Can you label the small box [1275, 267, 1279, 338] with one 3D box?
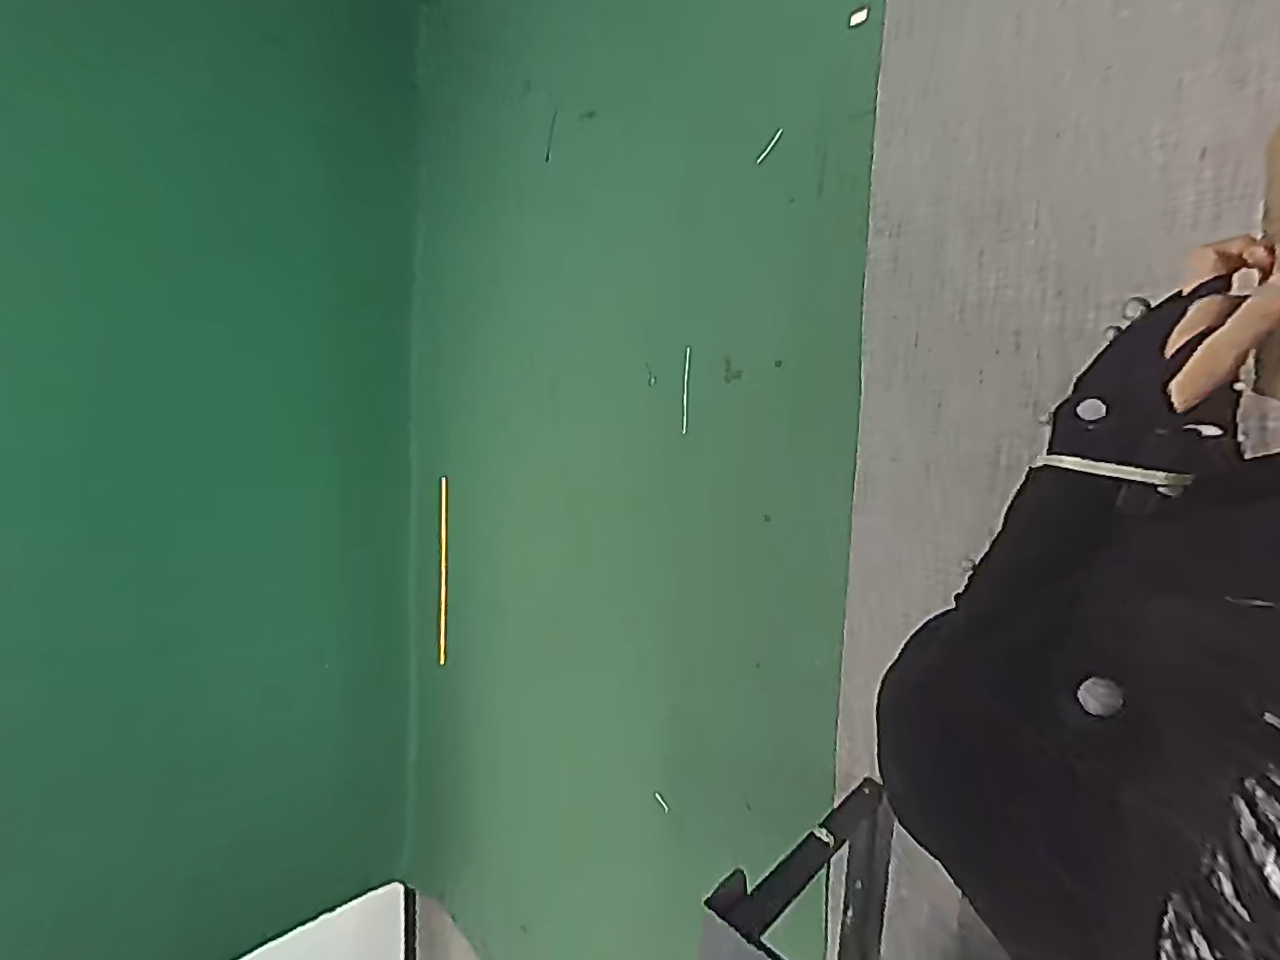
[{"bbox_3d":[0.450,-0.153,0.259,0.168,0.176,0.179,1,102,41],"label":"small box"}]
